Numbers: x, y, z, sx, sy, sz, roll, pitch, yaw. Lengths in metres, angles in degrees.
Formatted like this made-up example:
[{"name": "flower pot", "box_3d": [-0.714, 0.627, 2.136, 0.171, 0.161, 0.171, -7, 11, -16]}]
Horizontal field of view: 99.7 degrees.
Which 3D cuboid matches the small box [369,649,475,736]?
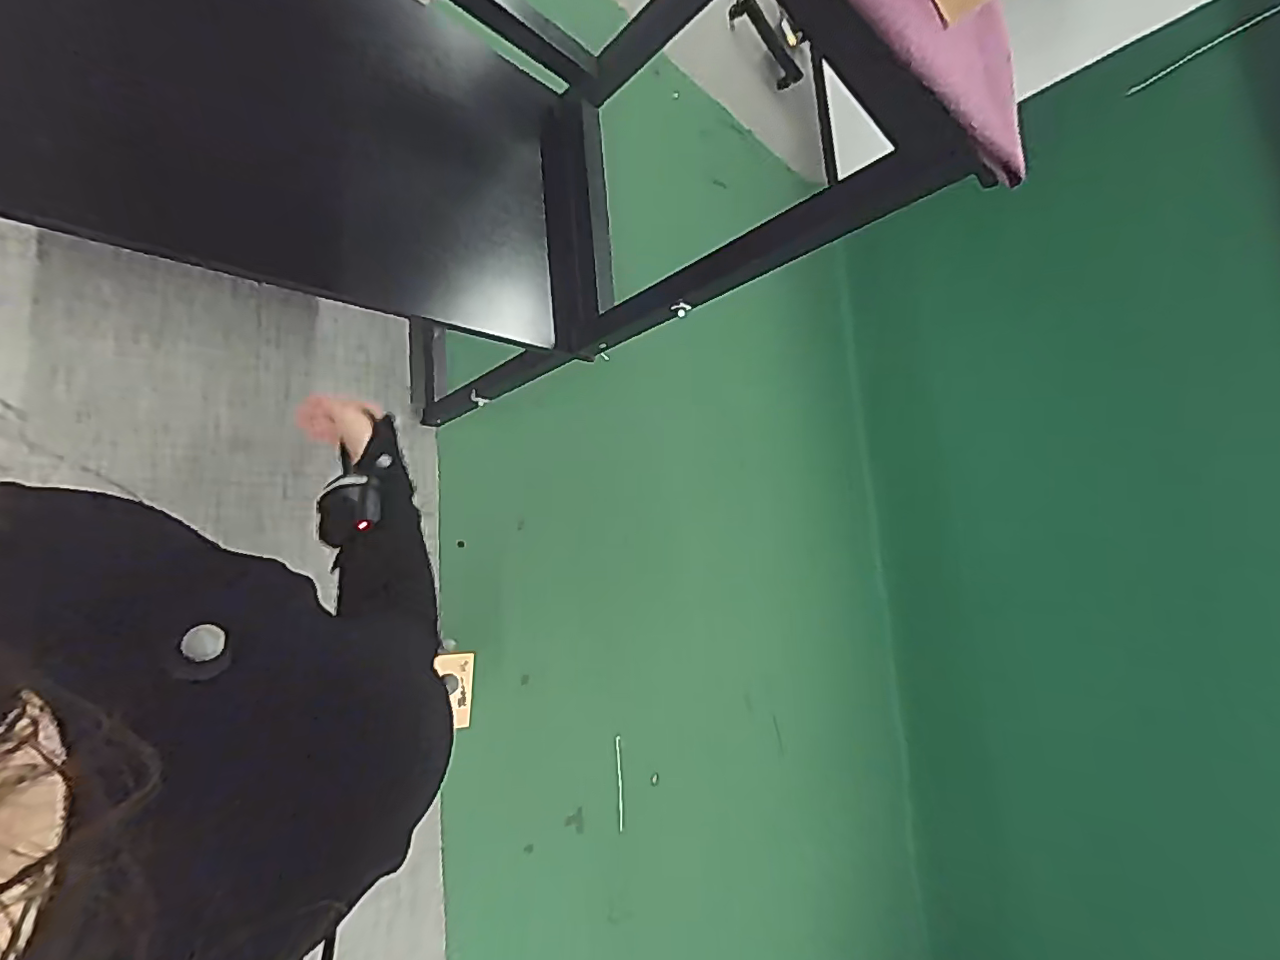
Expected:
[{"name": "small box", "box_3d": [-0.510, 0.486, 1.259, 0.179, 0.176, 0.168, 13, 72, -42]}]
